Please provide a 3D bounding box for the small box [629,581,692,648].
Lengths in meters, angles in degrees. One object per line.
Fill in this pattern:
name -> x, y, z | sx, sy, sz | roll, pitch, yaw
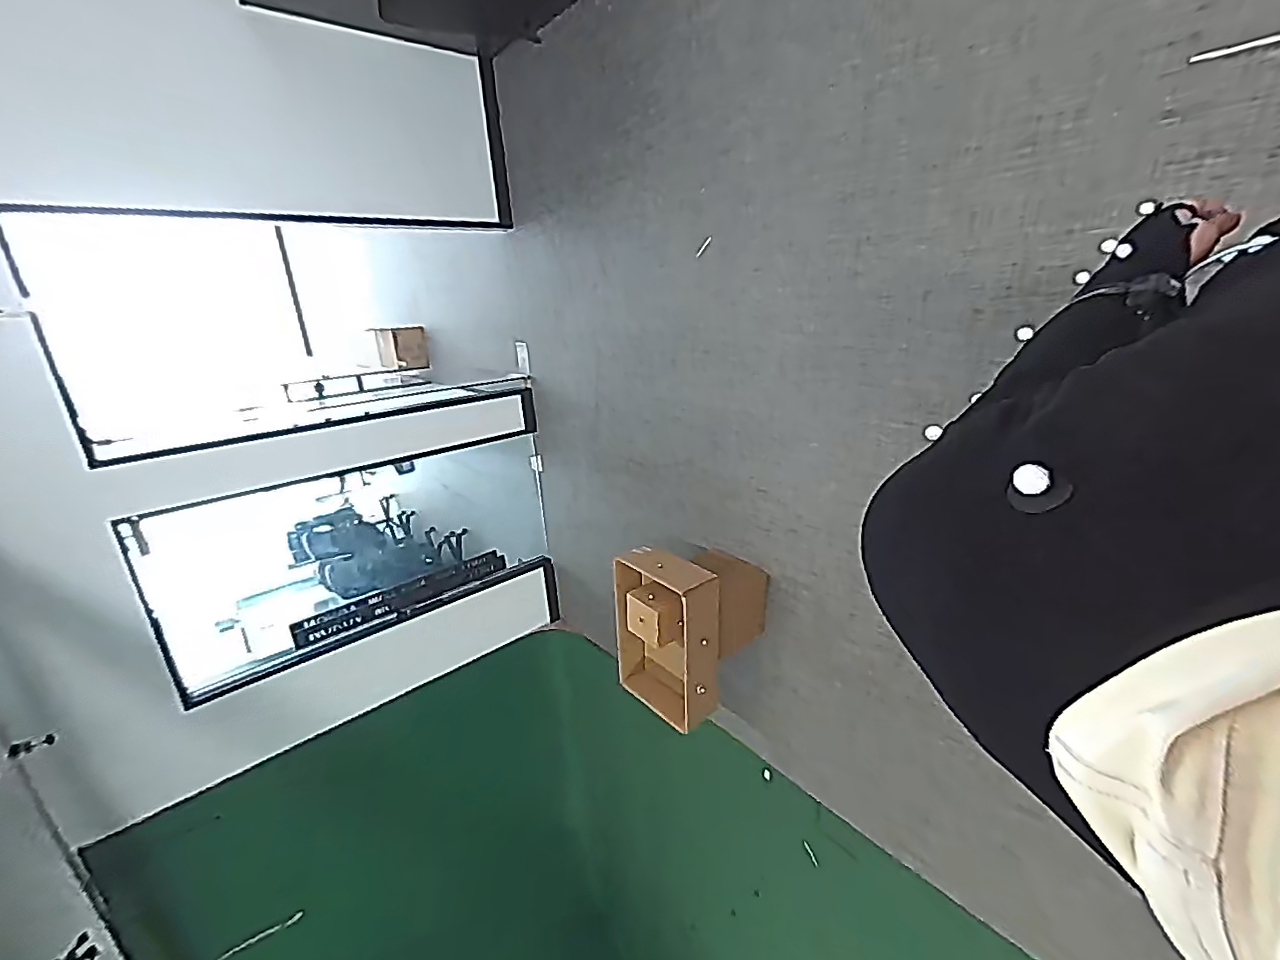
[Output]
small box -> 0.075, 0.503, 2.059 | 0.179, 0.176, 0.168 | 21, 119, 45
